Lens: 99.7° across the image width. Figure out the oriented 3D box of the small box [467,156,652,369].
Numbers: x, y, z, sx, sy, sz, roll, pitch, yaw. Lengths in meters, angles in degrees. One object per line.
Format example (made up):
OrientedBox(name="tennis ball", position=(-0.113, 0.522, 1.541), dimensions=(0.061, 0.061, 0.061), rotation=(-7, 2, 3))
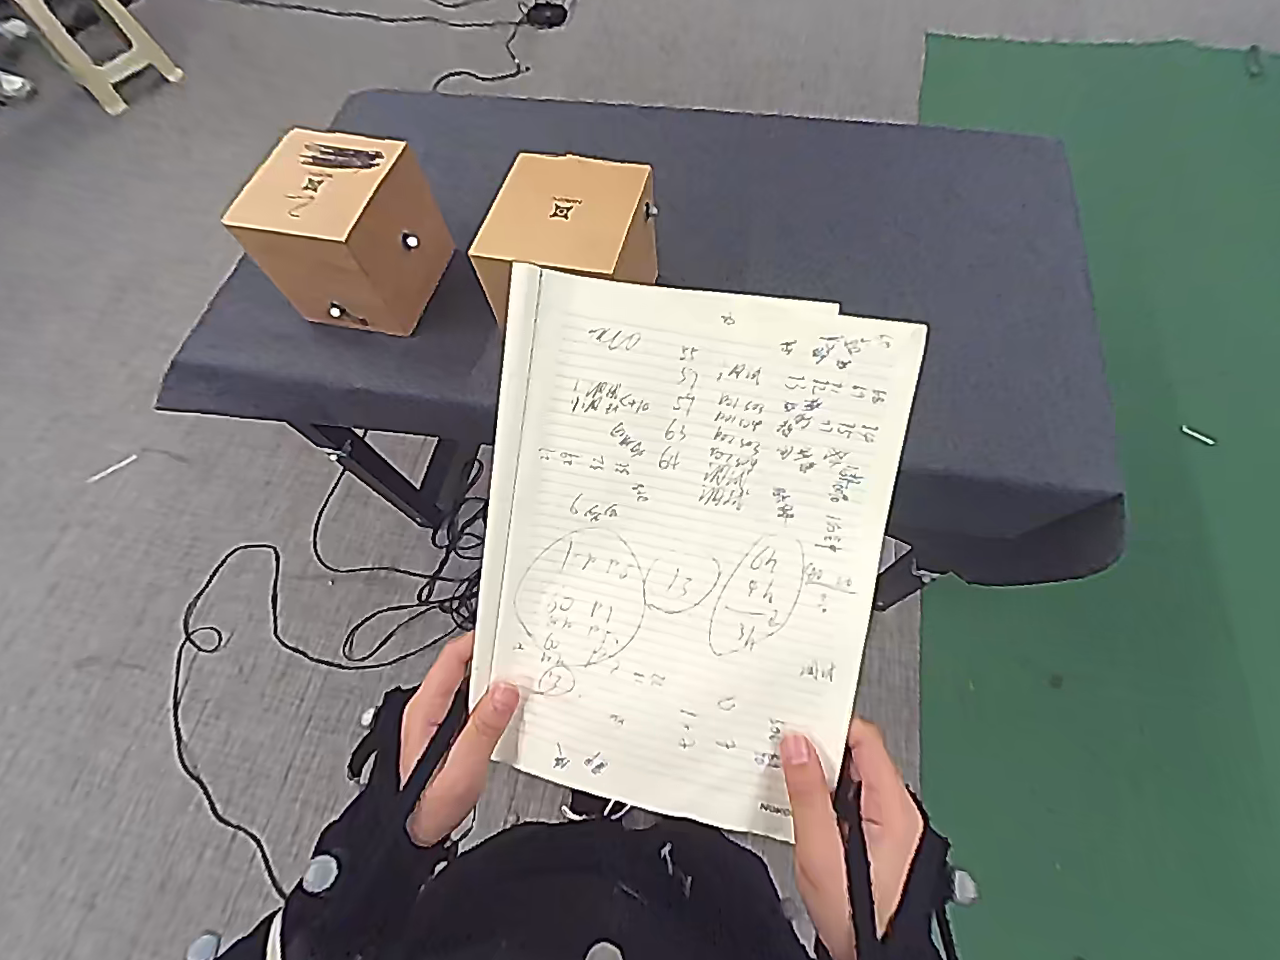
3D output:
OrientedBox(name="small box", position=(-0.082, -0.262, 0.670), dimensions=(0.168, 0.176, 0.179), rotation=(11, 65, 9))
